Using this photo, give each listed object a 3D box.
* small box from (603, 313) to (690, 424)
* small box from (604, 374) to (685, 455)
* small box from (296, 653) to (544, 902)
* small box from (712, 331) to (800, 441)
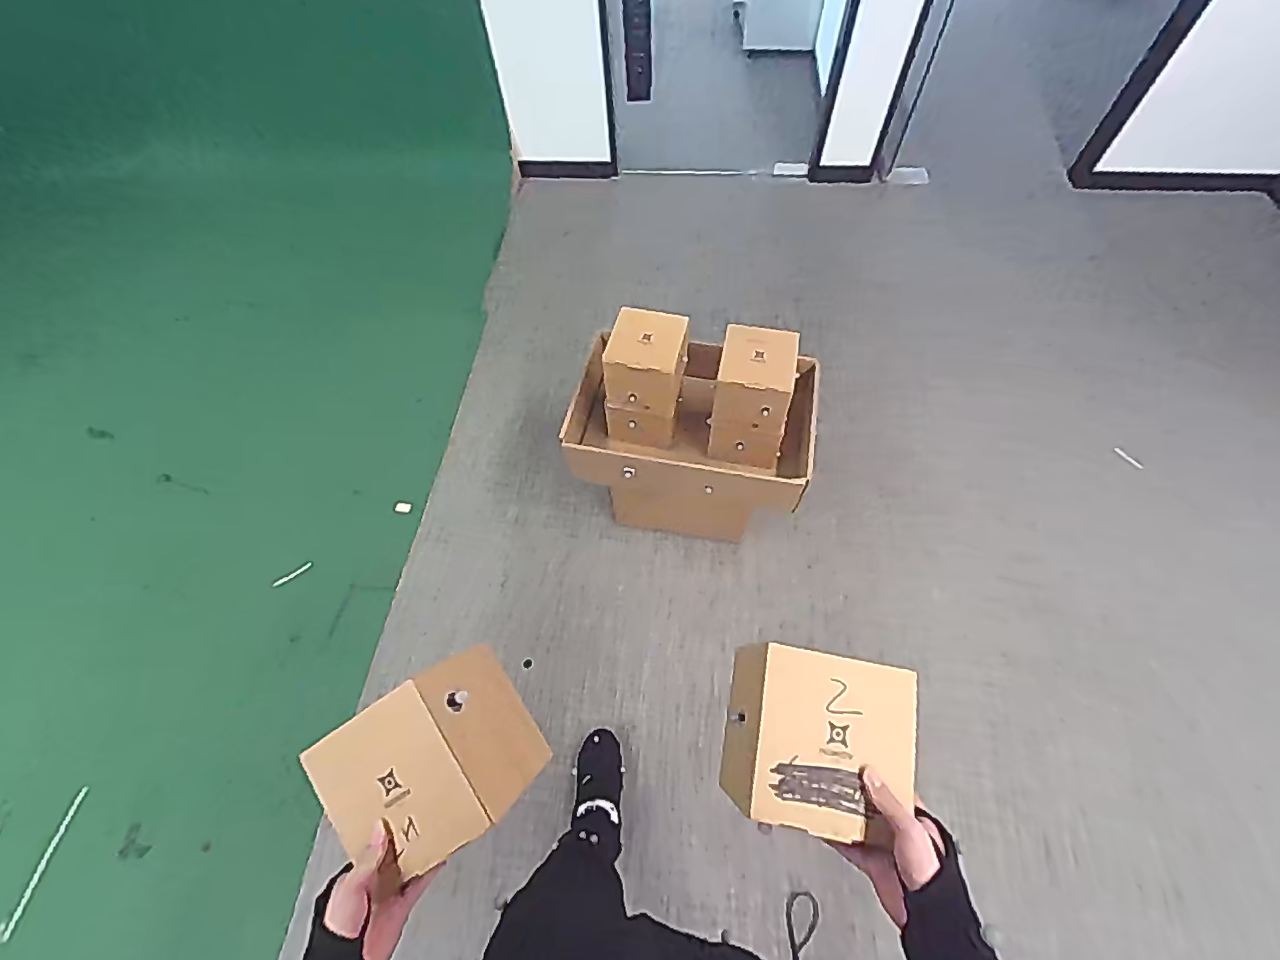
[{"bbox_3d":[0.017,-0.264,1.294,0.168,0.176,0.179,12,61,8],"label":"small box"},{"bbox_3d":[0.015,-0.185,1.438,0.179,0.176,0.168,12,60,8],"label":"small box"},{"bbox_3d":[-0.244,0.322,0.633,0.168,0.176,0.179,-34,80,8],"label":"small box"},{"bbox_3d":[0.265,-0.213,1.253,0.168,0.176,0.179,11,59,7],"label":"small box"}]
